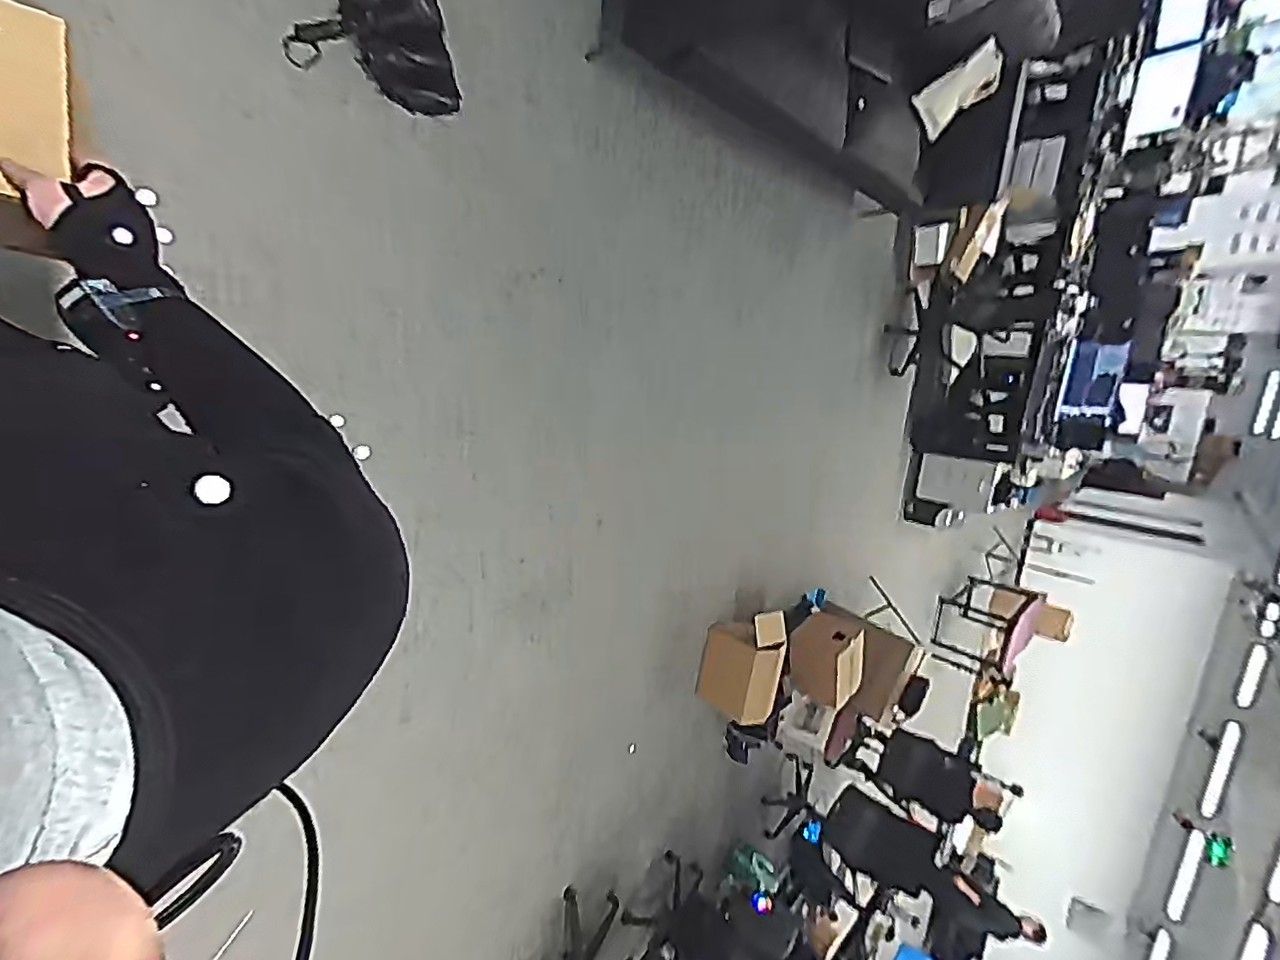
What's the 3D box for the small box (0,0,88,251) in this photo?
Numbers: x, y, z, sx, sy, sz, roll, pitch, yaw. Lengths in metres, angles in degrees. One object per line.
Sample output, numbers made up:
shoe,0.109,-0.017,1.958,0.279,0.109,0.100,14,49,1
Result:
small box,-0.622,-0.326,0.482,0.168,0.176,0.179,-3,93,-40
